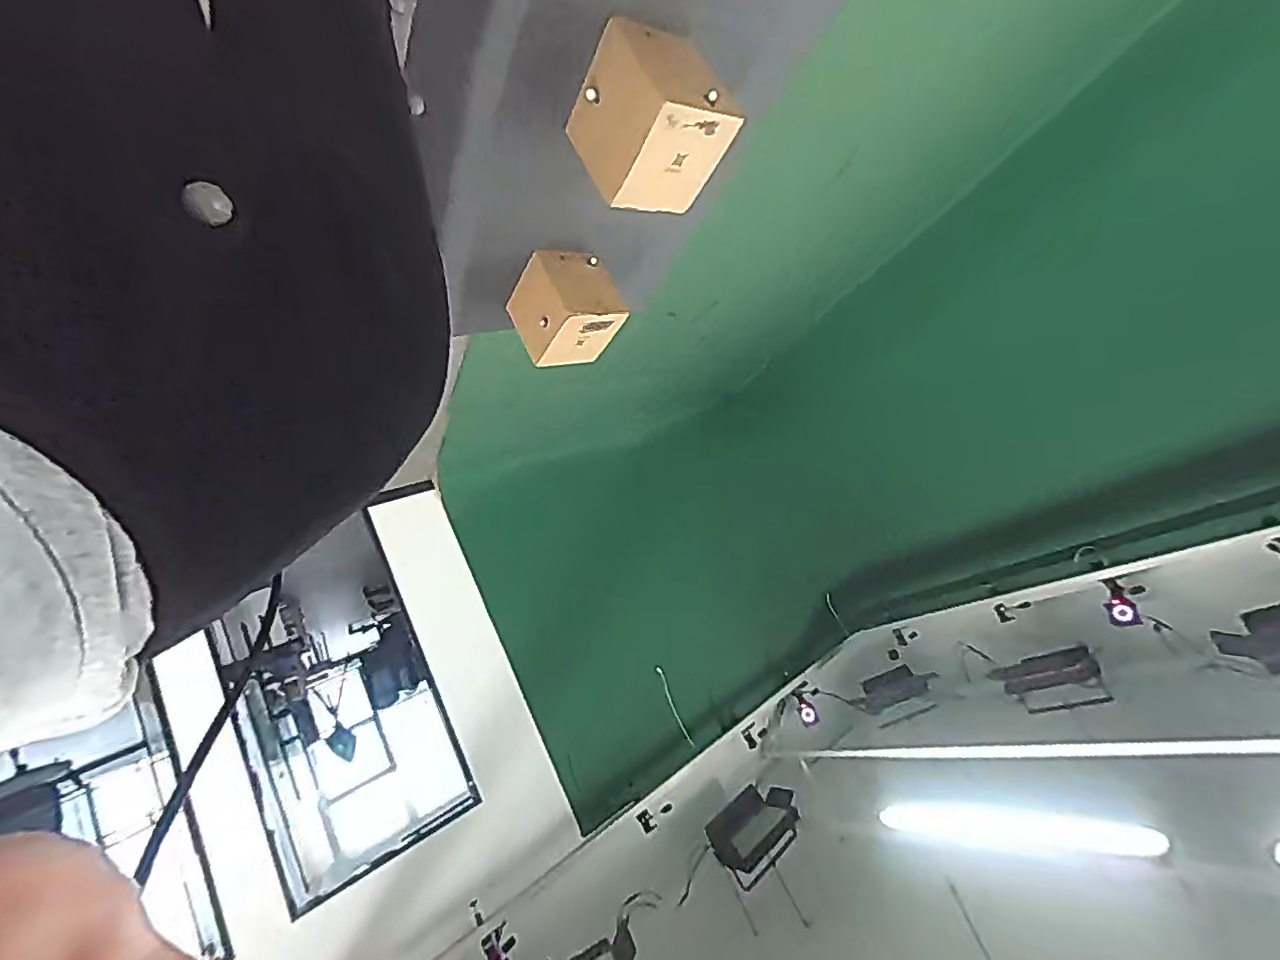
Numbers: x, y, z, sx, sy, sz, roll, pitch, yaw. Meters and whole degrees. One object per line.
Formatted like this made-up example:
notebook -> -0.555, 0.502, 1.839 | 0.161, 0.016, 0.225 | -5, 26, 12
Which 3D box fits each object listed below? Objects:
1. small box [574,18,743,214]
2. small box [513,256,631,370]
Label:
small box -> 0.018, -0.547, 0.836 | 0.168, 0.176, 0.179 | -19, 166, -37
small box -> -0.156, -0.368, 1.188 | 0.168, 0.176, 0.179 | -17, 164, -41
